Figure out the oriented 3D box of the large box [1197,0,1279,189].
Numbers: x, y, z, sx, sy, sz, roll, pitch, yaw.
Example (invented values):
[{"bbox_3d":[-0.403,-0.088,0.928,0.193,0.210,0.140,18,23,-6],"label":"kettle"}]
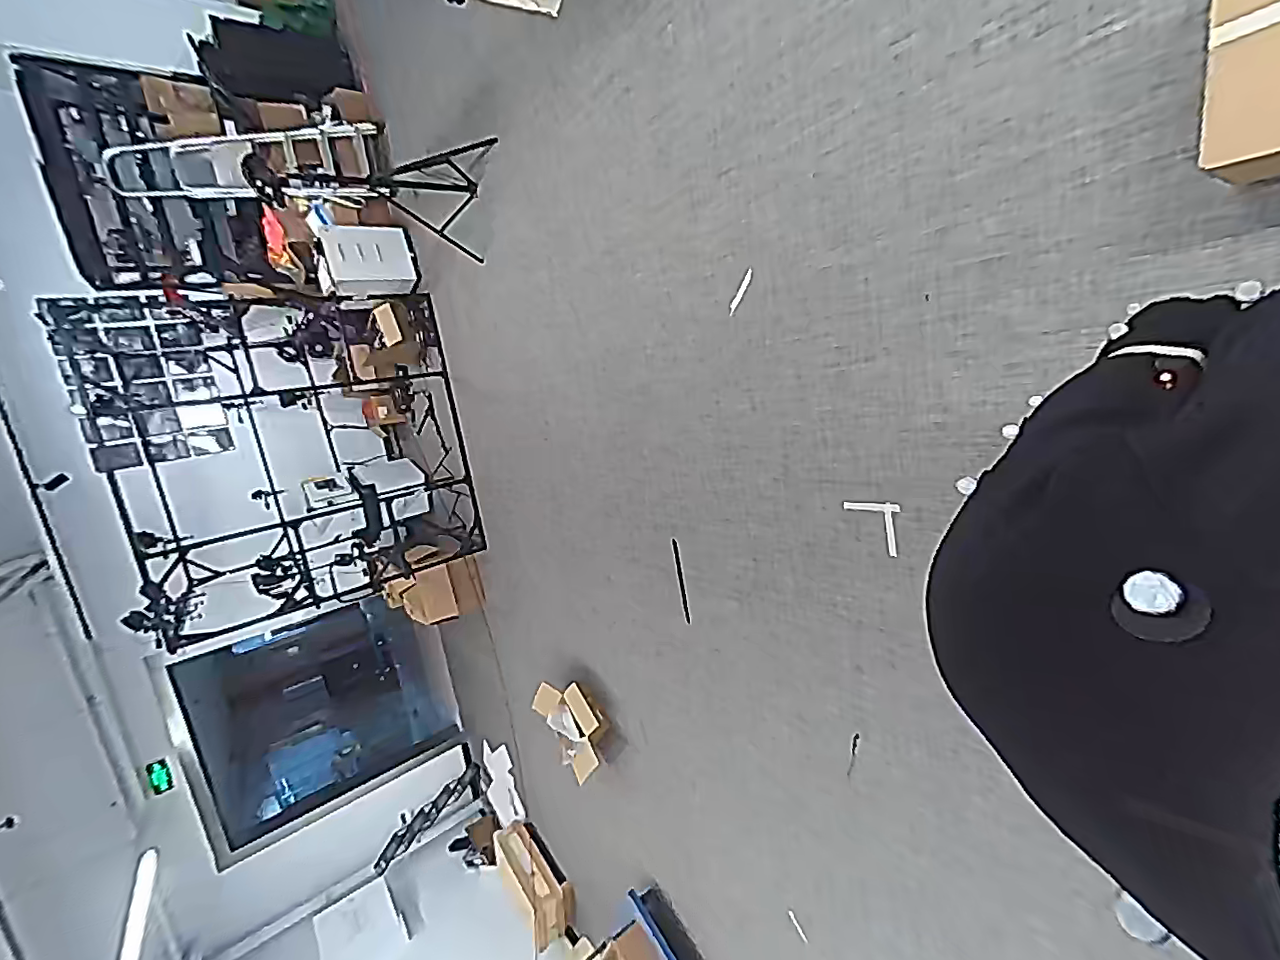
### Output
[{"bbox_3d":[0.969,-0.584,0.635,0.408,0.320,0.320,8,111,52],"label":"large box"}]
